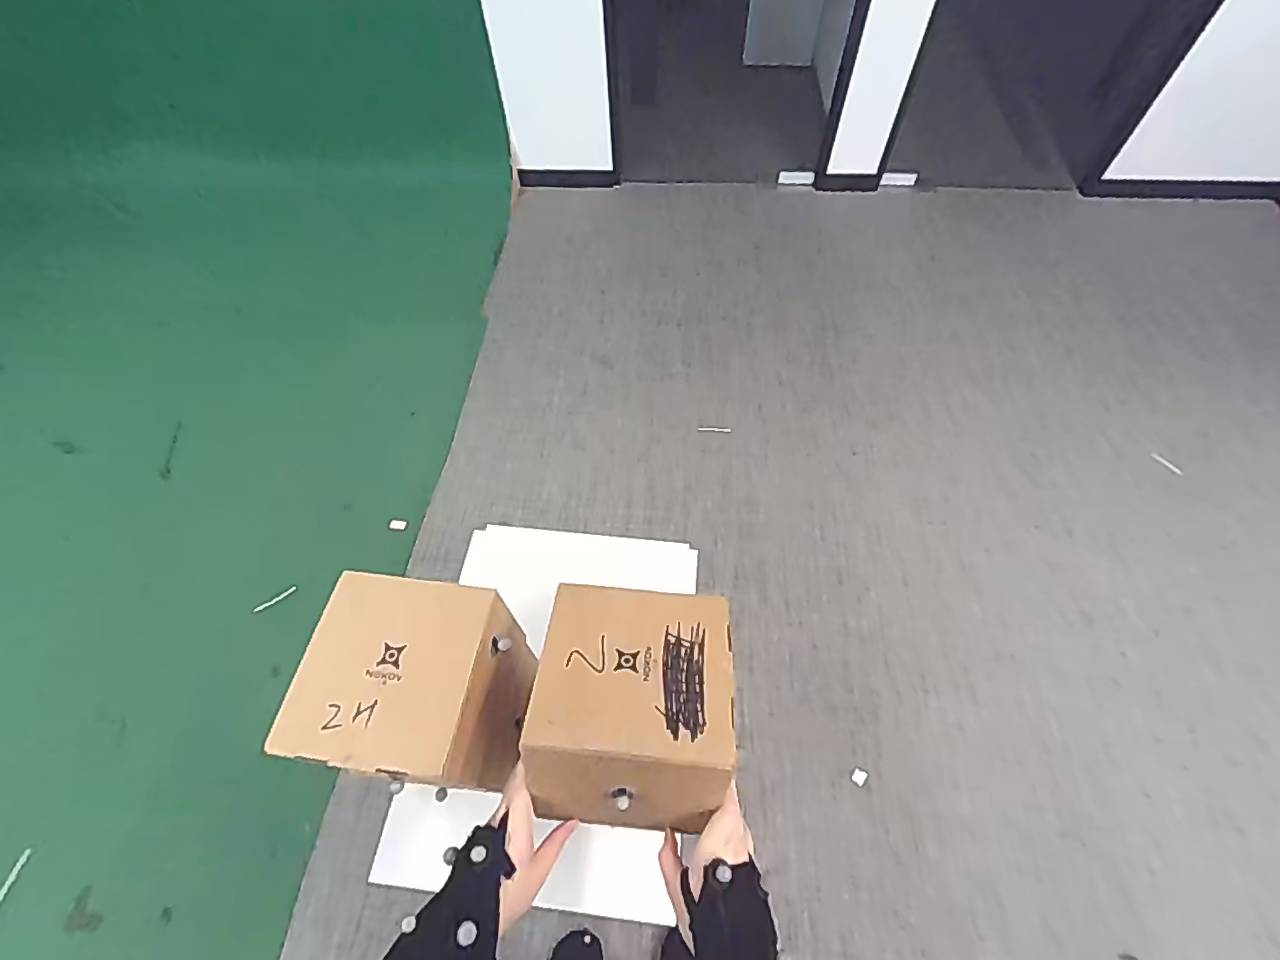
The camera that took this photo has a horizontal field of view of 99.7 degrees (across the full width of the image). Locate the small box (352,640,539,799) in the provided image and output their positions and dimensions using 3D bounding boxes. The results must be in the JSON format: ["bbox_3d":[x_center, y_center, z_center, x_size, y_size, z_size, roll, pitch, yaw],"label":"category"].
[{"bbox_3d":[-0.239,0.312,0.719,0.168,0.176,0.179,5,59,4],"label":"small box"}]

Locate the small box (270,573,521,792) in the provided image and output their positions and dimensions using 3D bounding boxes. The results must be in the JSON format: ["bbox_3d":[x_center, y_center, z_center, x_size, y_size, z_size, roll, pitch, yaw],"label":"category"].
[{"bbox_3d":[-0.236,0.221,0.582,0.168,0.176,0.179,6,58,5],"label":"small box"}]

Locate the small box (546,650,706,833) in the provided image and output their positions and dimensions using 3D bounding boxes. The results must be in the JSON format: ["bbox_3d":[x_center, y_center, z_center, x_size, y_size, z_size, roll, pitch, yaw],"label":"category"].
[{"bbox_3d":[-0.009,0.338,0.697,0.168,0.176,0.179,6,58,6],"label":"small box"}]
